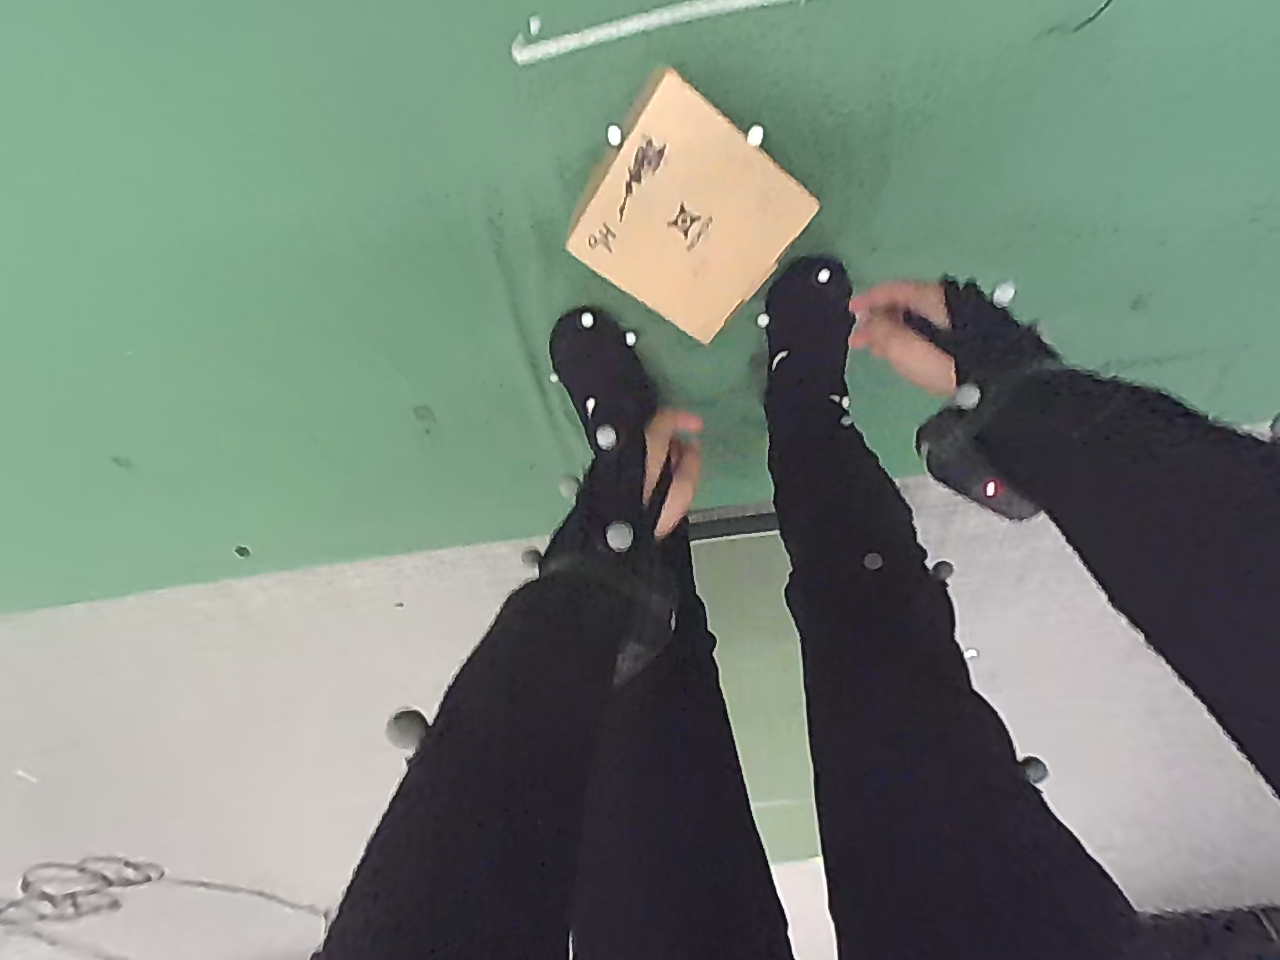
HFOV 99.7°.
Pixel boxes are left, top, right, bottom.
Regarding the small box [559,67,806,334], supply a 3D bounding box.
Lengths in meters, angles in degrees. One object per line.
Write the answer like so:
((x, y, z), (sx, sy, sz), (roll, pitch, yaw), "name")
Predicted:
((0.036, -0.293, 0.564), (0.179, 0.176, 0.168), (28, 123, -24), "small box")
